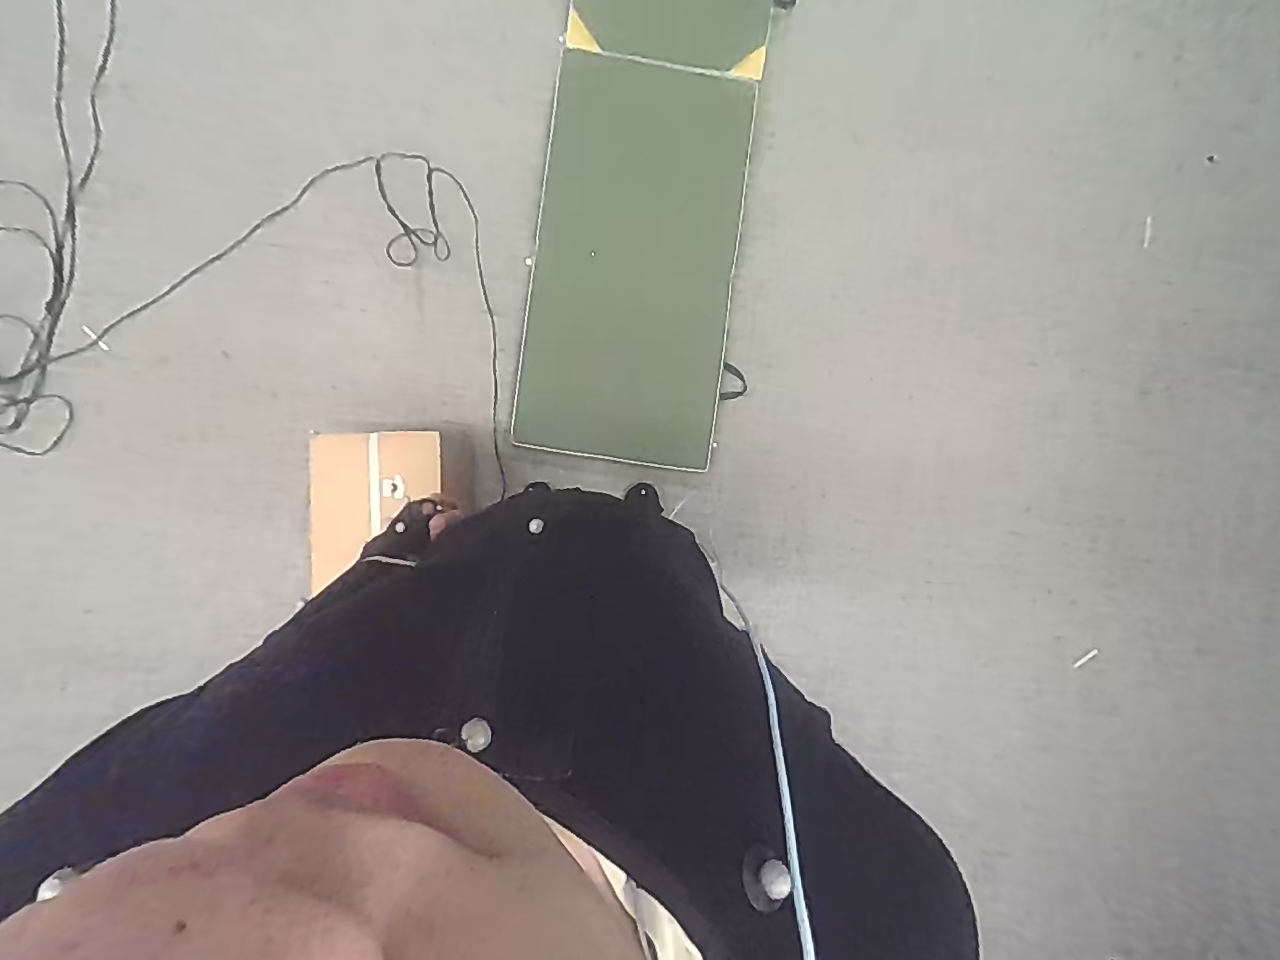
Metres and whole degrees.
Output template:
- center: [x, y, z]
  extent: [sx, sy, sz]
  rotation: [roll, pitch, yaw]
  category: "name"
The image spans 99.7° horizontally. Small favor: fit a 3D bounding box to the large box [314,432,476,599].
- center: [-0.644, 0.091, 1.470]
  extent: [0.320, 0.320, 0.408]
  rotation: [-1, 89, -3]
  category: "large box"
